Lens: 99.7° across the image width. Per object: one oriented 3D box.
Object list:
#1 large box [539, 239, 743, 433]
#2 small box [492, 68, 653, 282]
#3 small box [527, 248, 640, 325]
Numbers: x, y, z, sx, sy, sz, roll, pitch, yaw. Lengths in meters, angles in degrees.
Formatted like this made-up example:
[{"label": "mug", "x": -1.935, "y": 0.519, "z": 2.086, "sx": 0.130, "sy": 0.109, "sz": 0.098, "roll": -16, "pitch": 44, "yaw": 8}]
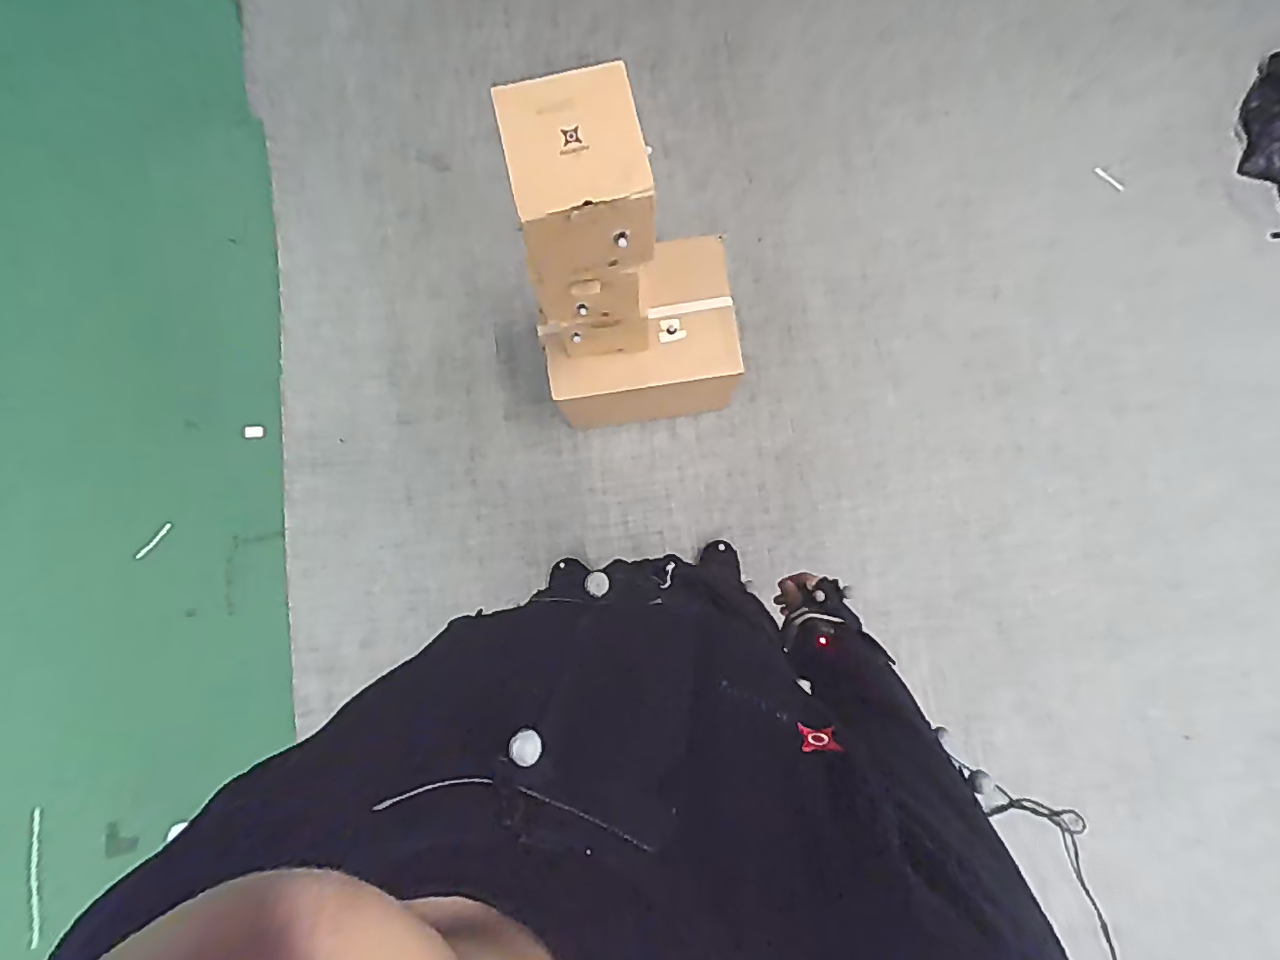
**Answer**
[{"label": "large box", "x": -0.005, "y": -0.318, "z": 1.279, "sx": 0.408, "sy": 0.320, "sz": 0.320, "roll": -9, "pitch": 84, "yaw": -1}, {"label": "small box", "x": -0.080, "y": -0.383, "z": 0.714, "sx": 0.168, "sy": 0.176, "sz": 0.179, "roll": -13, "pitch": 83, "yaw": -2}, {"label": "small box", "x": -0.086, "y": -0.369, "z": 0.876, "sx": 0.168, "sy": 0.176, "sz": 0.179, "roll": -3, "pitch": 83, "yaw": 0}]
